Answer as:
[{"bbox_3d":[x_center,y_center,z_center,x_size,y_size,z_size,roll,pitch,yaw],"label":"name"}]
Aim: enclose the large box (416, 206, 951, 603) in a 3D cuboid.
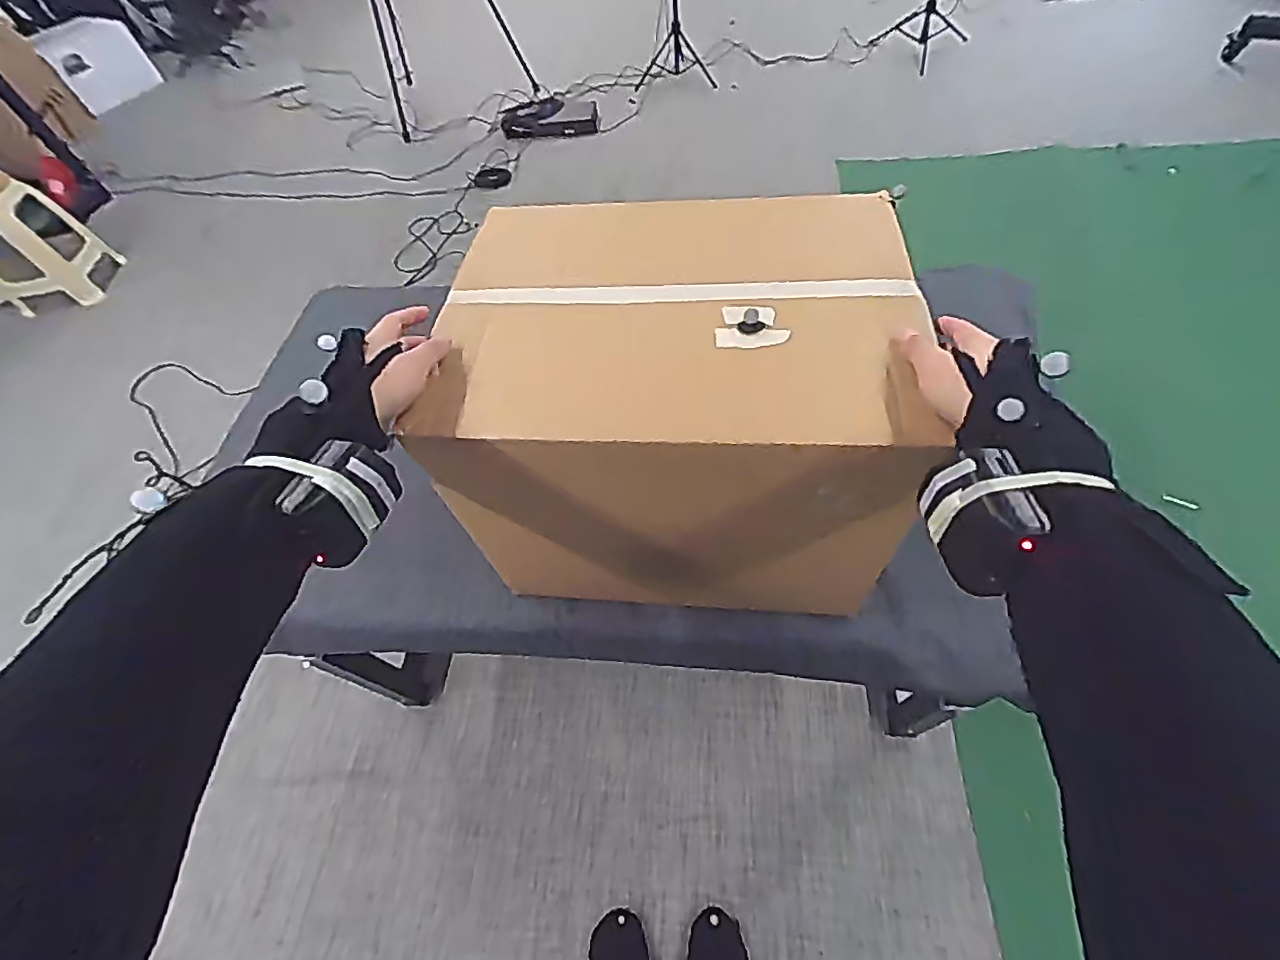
[{"bbox_3d":[0.044,-0.070,0.600,0.408,0.320,0.320,2,56,7],"label":"large box"}]
